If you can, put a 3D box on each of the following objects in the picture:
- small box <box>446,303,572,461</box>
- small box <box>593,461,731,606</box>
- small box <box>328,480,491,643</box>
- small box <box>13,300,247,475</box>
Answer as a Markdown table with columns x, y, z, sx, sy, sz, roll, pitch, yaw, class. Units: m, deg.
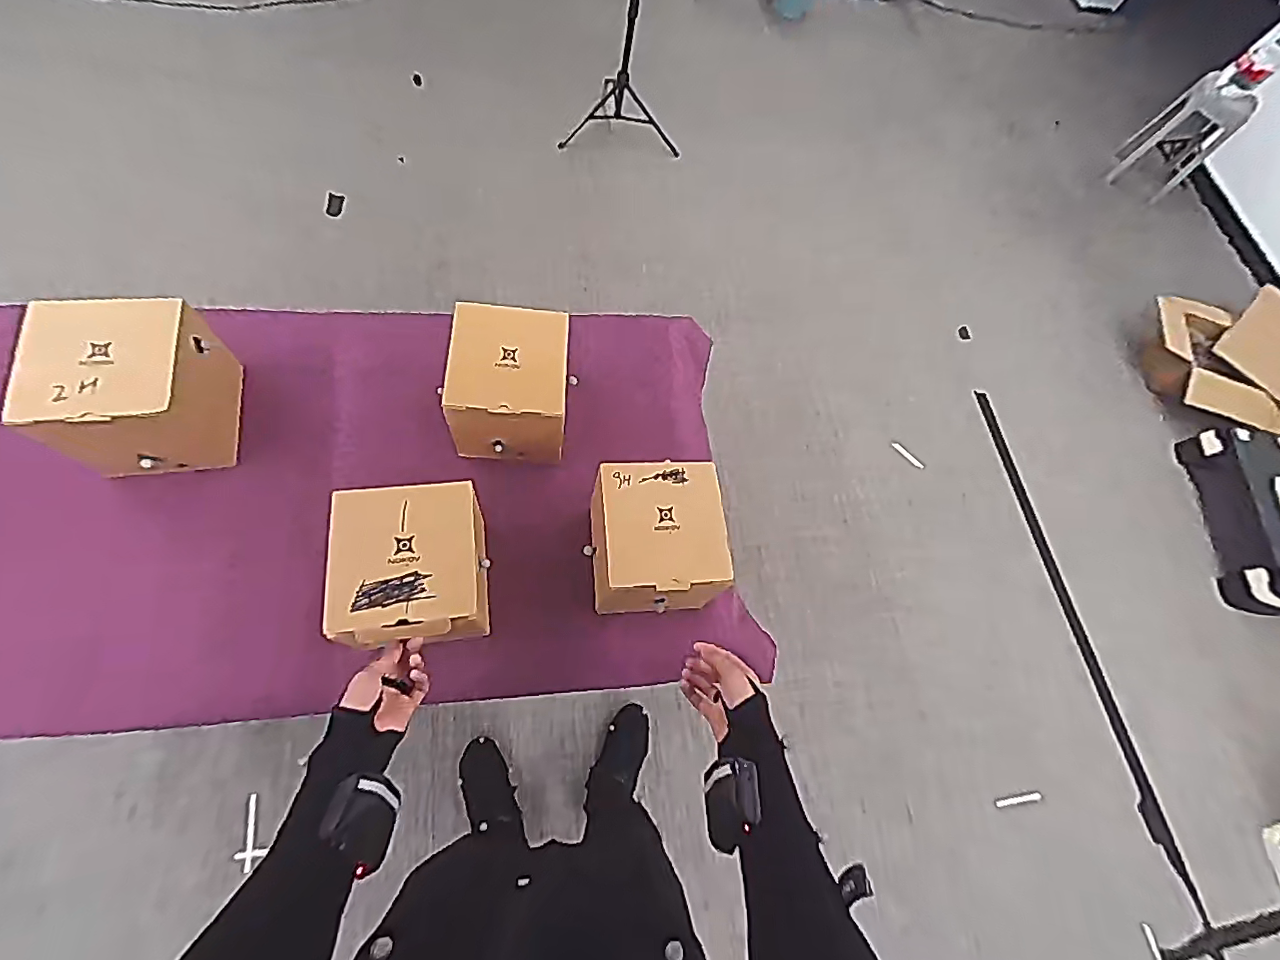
| x | y | z | sx | sy | sz | roll | pitch | yaw | class |
| --- | --- | --- | --- | --- | --- | --- | --- | --- | --- |
| -0.198 | -0.146 | 0.848 | 0.168 | 0.176 | 0.179 | 3 | 69 | -9 | small box |
| 0.021 | 0.085 | 0.789 | 0.168 | 0.176 | 0.179 | 0 | 66 | -11 | small box |
| -0.292 | 0.115 | 0.718 | 0.168 | 0.176 | 0.179 | -4 | 67 | -13 | small box |
| -0.675 | -0.124 | 0.745 | 0.168 | 0.176 | 0.179 | -6 | 70 | -13 | small box |
